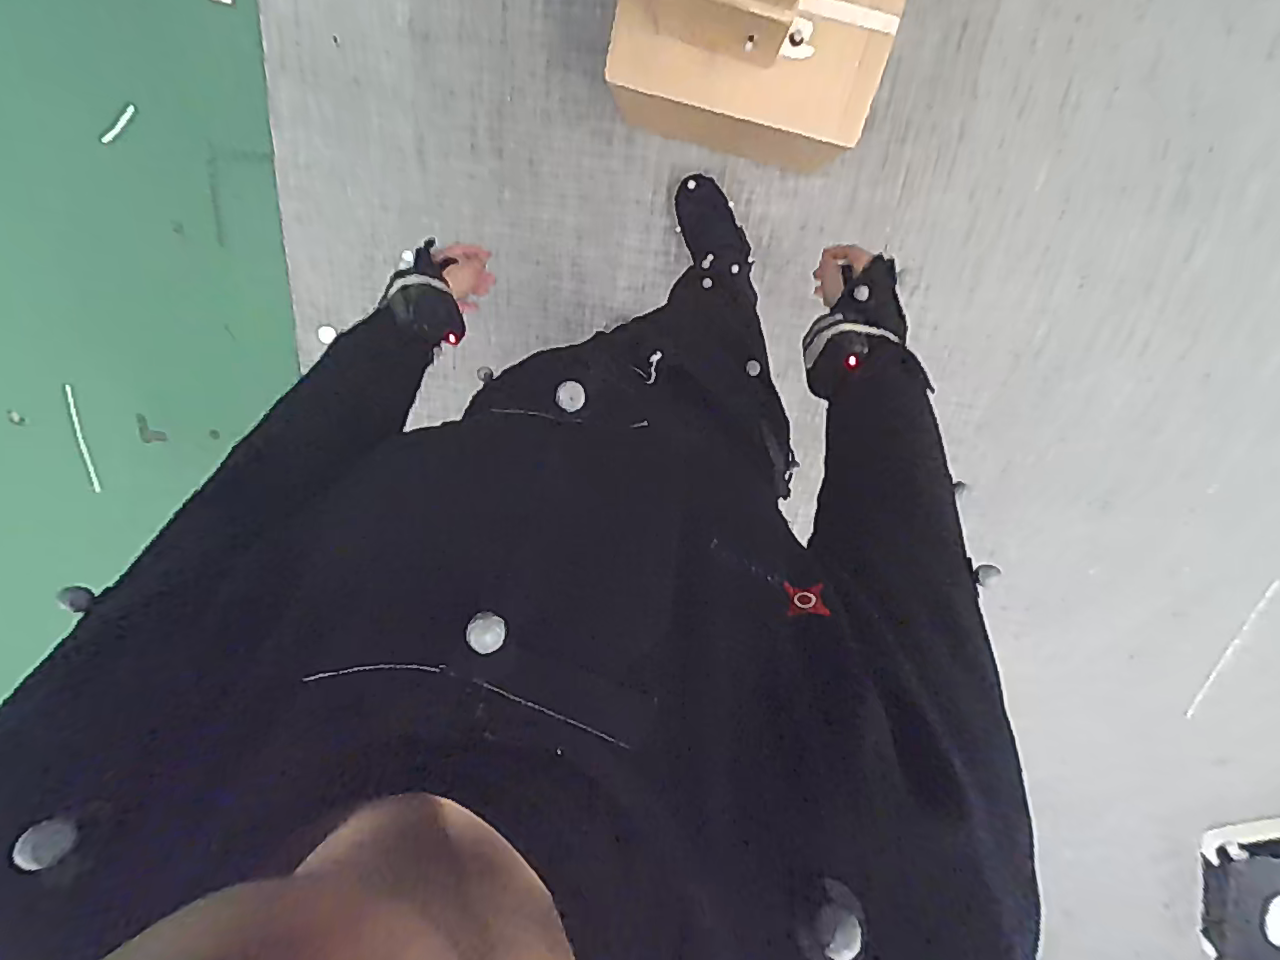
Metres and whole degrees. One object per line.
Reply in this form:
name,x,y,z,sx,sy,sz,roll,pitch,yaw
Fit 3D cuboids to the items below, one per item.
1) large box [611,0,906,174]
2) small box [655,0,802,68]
large box,0.184,-0.749,0.910,0.408,0.320,0.320,13,114,-2
small box,0.125,-0.661,0.688,0.179,0.176,0.168,15,111,-1
